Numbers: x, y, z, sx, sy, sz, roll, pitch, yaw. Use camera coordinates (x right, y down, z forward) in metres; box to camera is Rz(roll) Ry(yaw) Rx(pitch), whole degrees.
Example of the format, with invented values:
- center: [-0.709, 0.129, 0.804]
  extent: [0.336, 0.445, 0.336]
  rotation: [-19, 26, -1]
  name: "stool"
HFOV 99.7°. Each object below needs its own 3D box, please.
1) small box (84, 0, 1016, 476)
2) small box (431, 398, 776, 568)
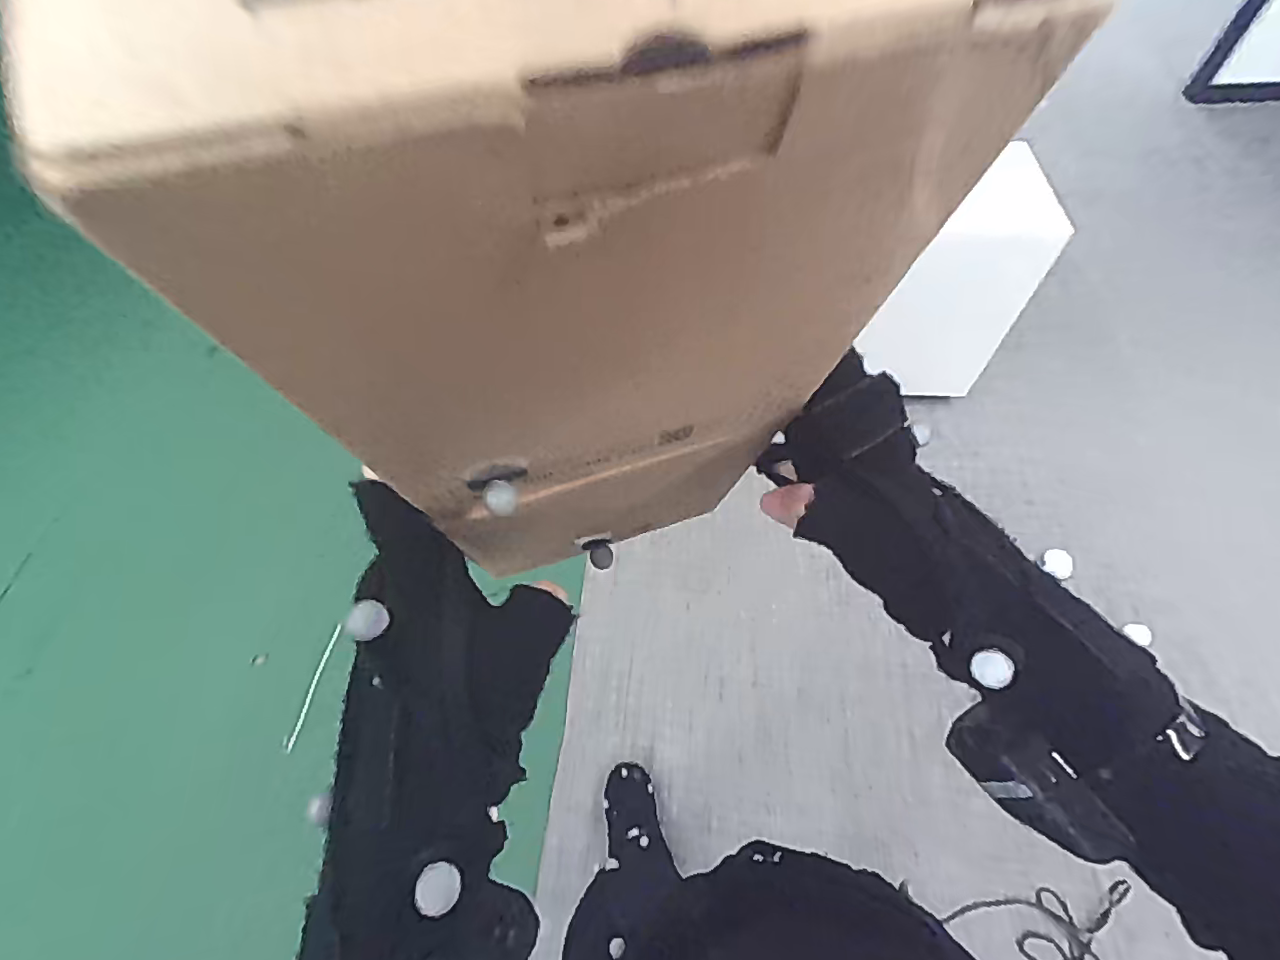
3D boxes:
- center: [-0.032, -0.113, 0.193]
  extent: [0.168, 0.176, 0.179]
  rotation: [-16, 72, -9]
  name: "small box"
- center: [-0.043, -0.059, 0.348]
  extent: [0.168, 0.176, 0.179]
  rotation: [-18, 75, -9]
  name: "small box"
